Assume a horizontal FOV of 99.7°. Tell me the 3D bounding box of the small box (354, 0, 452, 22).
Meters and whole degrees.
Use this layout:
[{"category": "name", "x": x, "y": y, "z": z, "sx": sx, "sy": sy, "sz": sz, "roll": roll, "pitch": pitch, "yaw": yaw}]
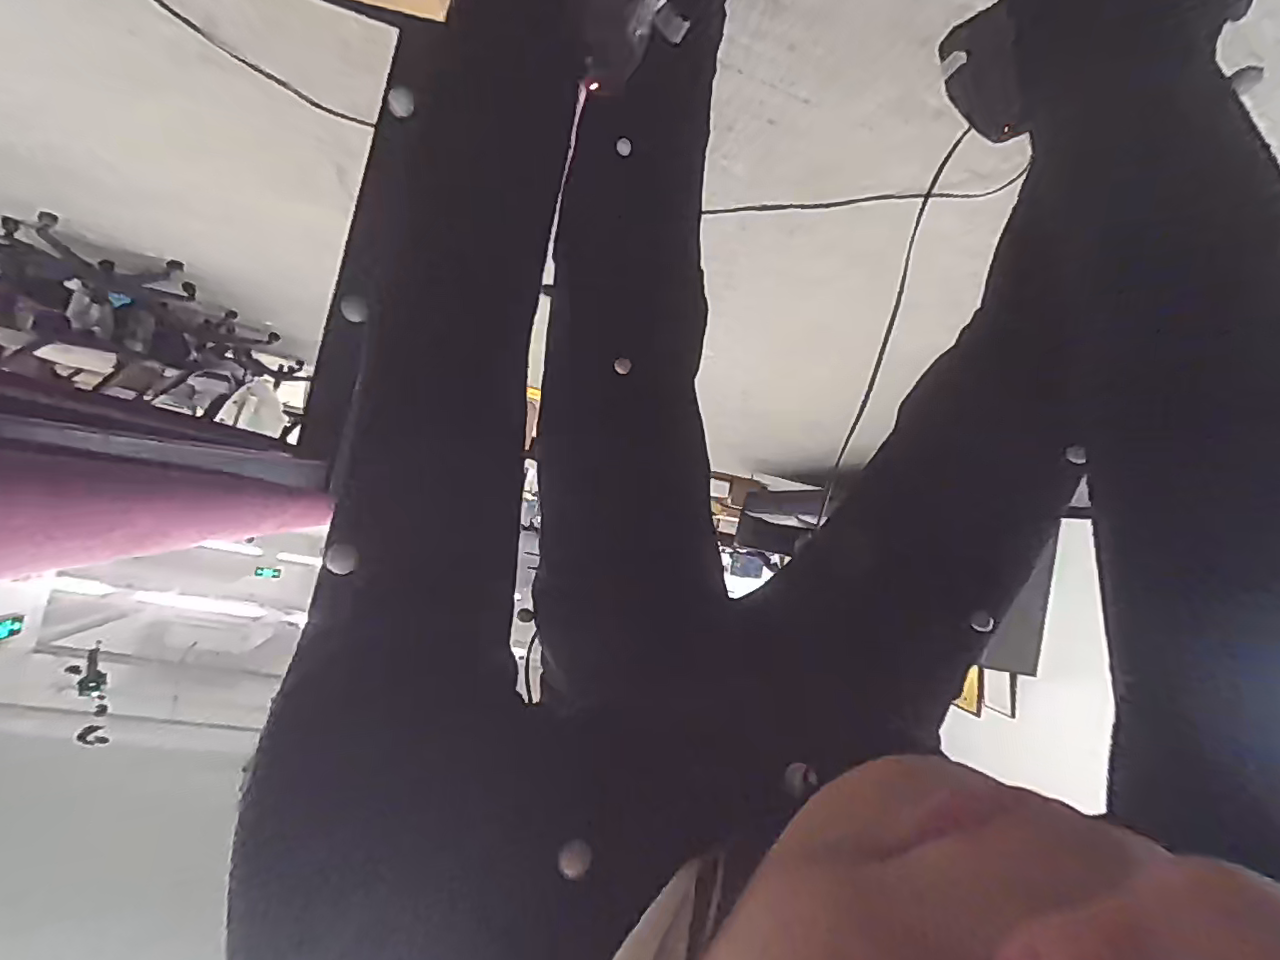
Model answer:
[{"category": "small box", "x": -0.269, "y": -0.595, "z": 0.503, "sx": 0.179, "sy": 0.176, "sz": 0.168, "roll": 12, "pitch": 176, "yaw": -4}]
